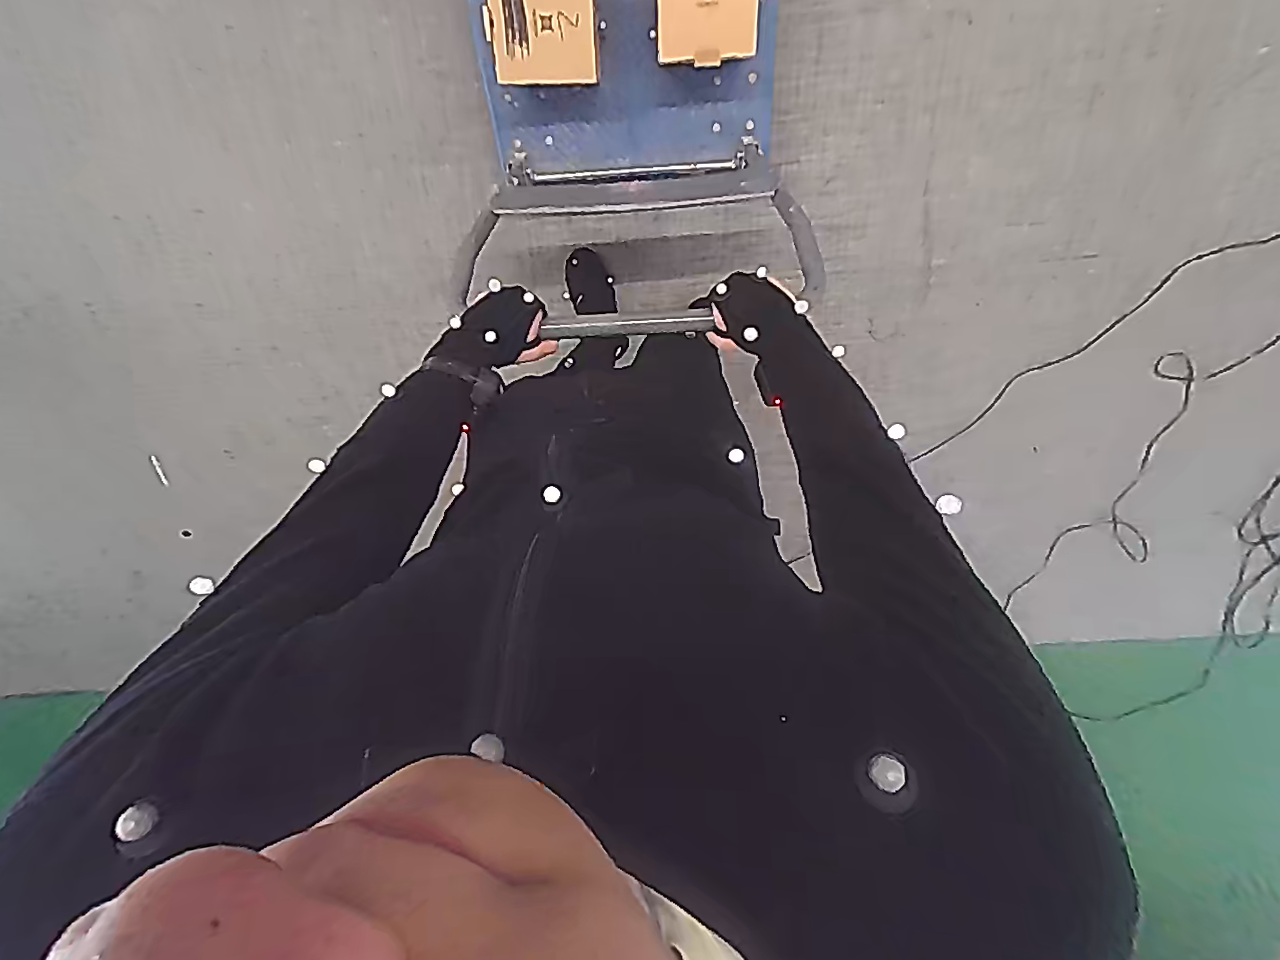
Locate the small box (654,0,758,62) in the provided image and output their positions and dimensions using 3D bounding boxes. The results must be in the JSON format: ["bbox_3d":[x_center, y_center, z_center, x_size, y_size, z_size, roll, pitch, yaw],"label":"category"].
[{"bbox_3d":[0.109,-0.835,0.930,0.168,0.176,0.179,-2,130,2],"label":"small box"}]
